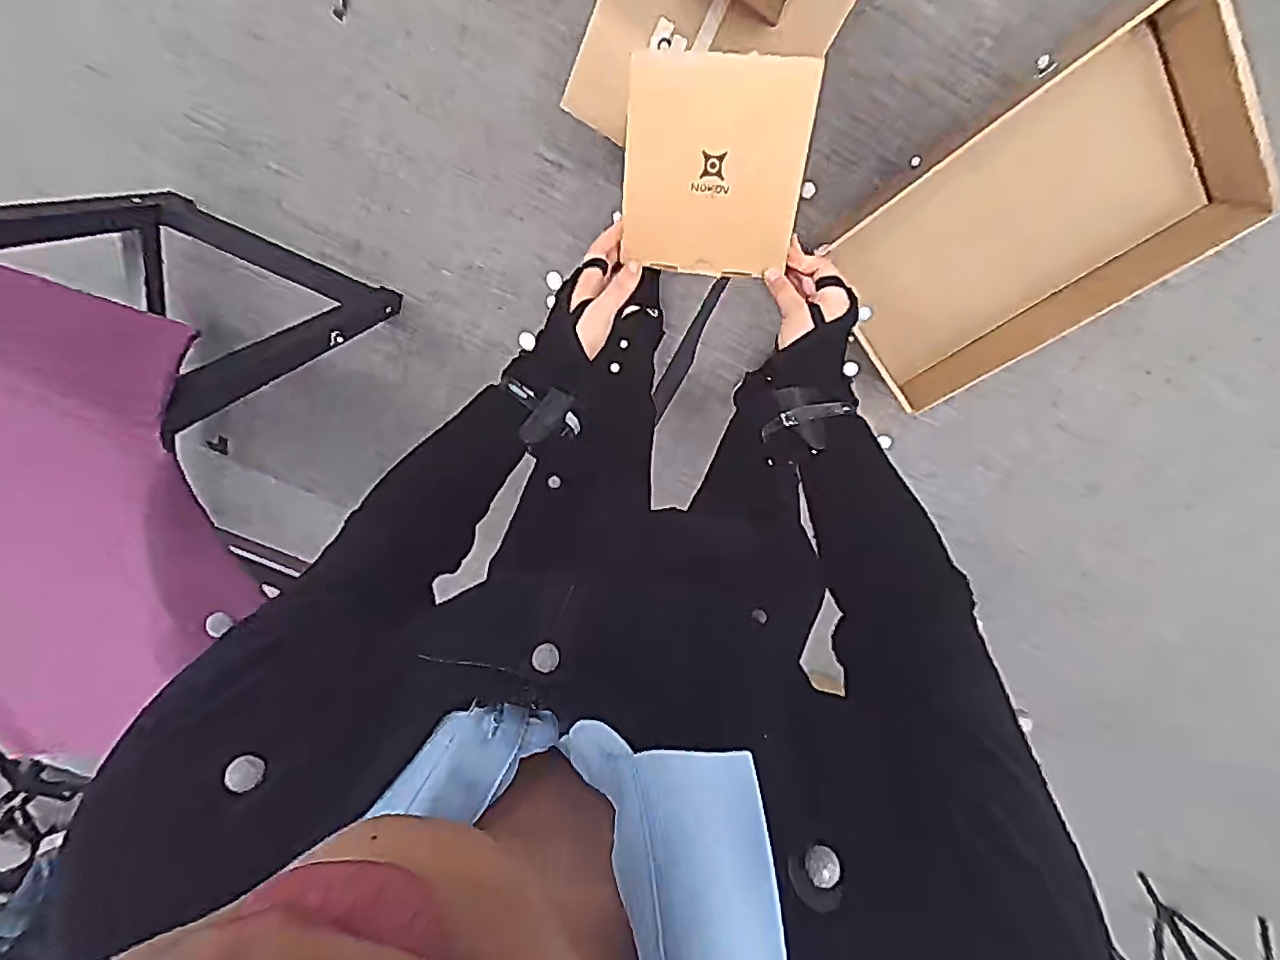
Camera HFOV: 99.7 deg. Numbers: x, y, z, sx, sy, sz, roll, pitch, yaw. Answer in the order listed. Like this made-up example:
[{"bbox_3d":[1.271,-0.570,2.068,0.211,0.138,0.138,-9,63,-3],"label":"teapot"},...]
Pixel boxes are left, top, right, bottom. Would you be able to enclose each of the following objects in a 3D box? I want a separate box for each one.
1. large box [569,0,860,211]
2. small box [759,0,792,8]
[{"bbox_3d":[0.132,-0.716,0.853,0.320,0.320,0.408,28,123,-7],"label":"large box"},{"bbox_3d":[0.141,-0.664,0.589,0.179,0.176,0.168,30,124,-10],"label":"small box"}]
